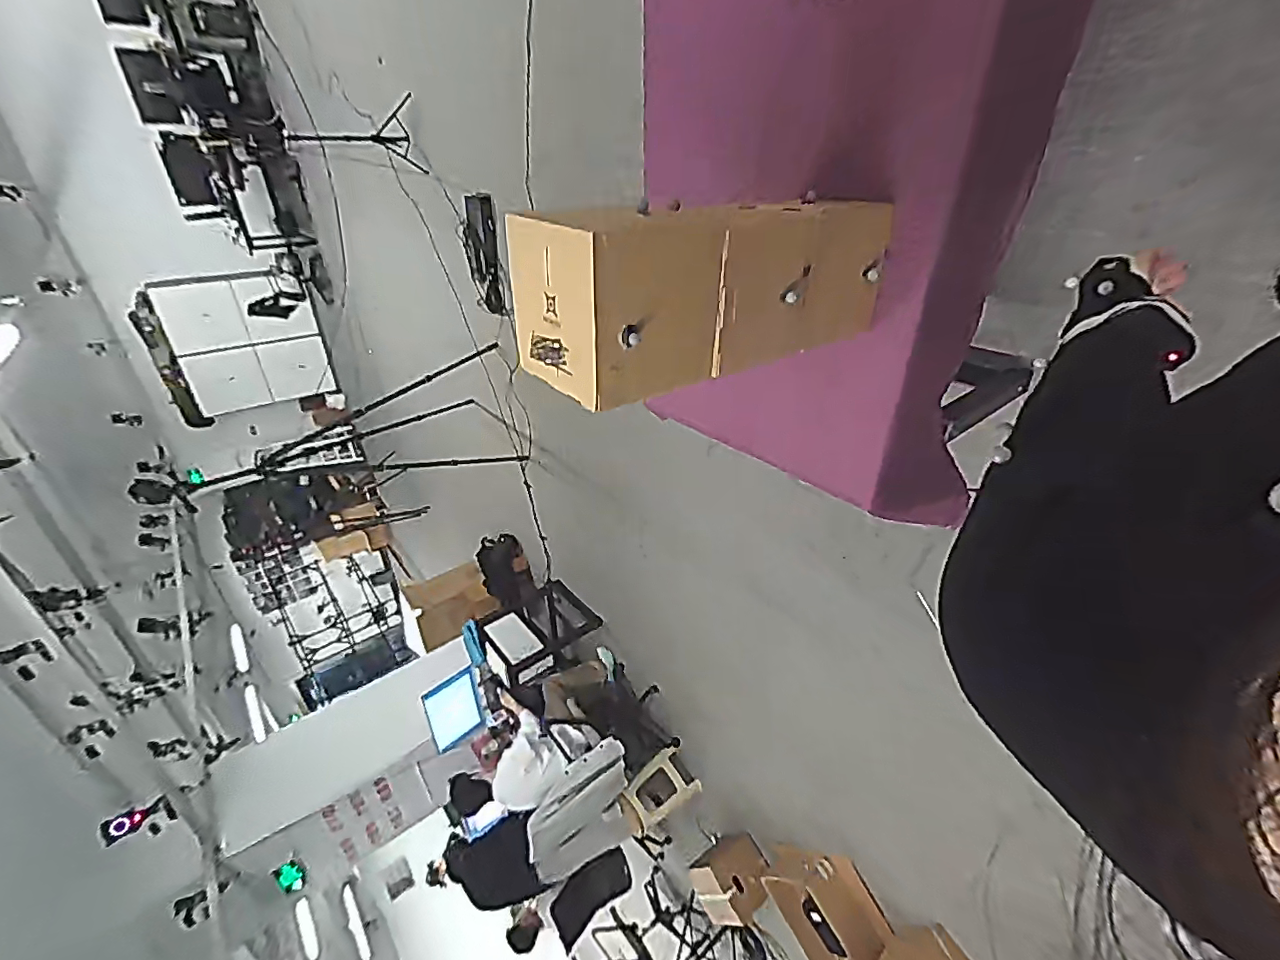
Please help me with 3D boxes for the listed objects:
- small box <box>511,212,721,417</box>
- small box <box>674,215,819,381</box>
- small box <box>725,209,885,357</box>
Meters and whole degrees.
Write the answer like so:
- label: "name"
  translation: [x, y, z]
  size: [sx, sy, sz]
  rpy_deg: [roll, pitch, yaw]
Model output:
- label: "small box"
  translation: [-0.026, -0.197, 0.614]
  size: [0.168, 0.176, 0.179]
  rpy_deg: [34, 133, 40]
- label: "small box"
  translation: [0.101, -0.246, 0.706]
  size: [0.179, 0.176, 0.168]
  rpy_deg: [32, 134, 41]
- label: "small box"
  translation: [0.232, -0.298, 0.793]
  size: [0.168, 0.176, 0.179]
  rpy_deg: [31, 132, 43]
